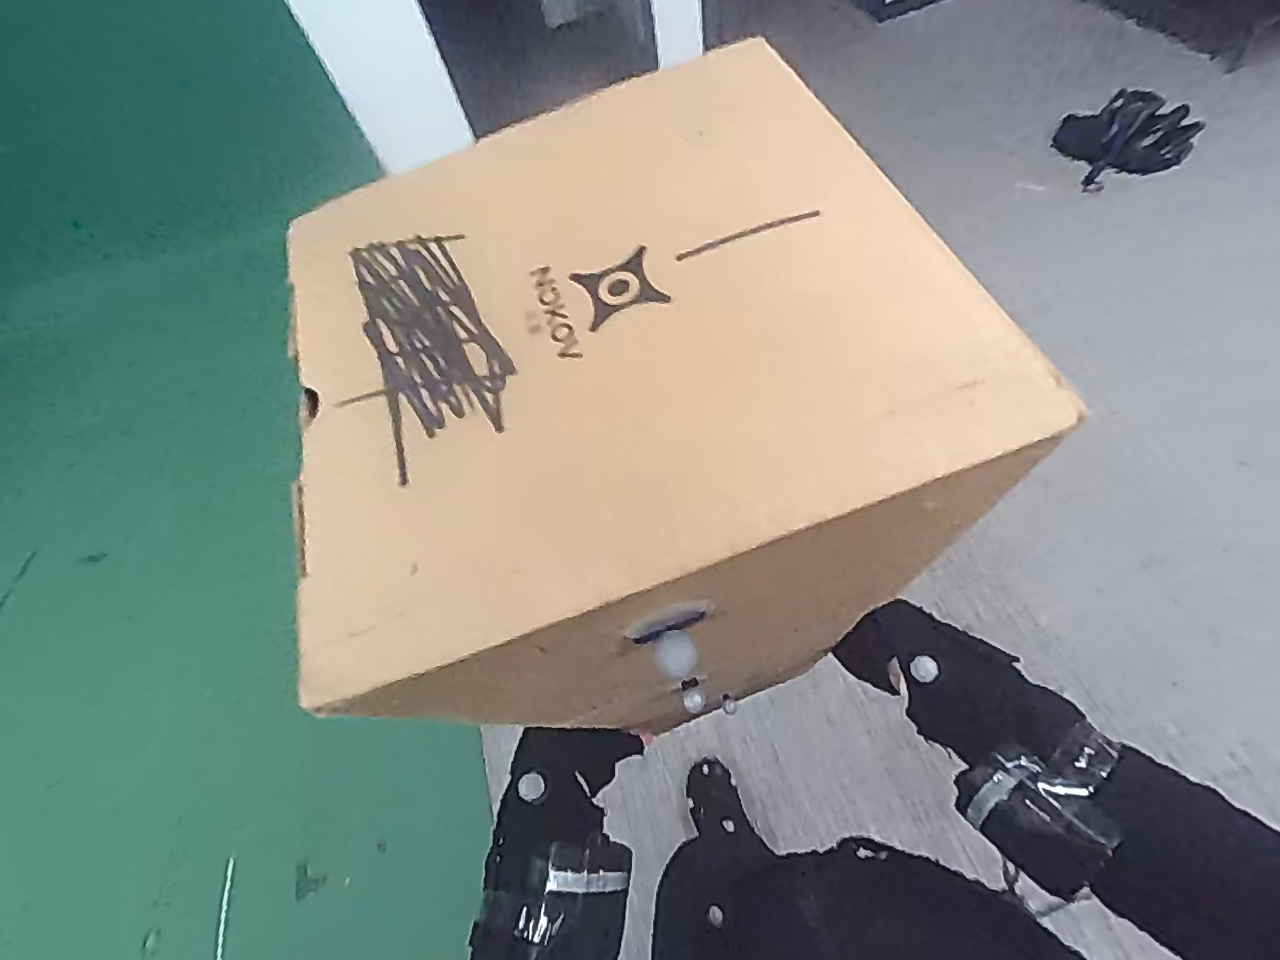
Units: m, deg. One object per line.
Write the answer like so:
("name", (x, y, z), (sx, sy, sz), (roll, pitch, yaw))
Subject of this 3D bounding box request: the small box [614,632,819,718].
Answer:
("small box", (0.050, 0.118, 0.526), (0.179, 0.176, 0.168), (-22, 63, -2))

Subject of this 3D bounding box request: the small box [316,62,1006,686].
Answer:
("small box", (-0.003, -0.022, 0.234), (0.179, 0.176, 0.168), (-20, 63, 1))
